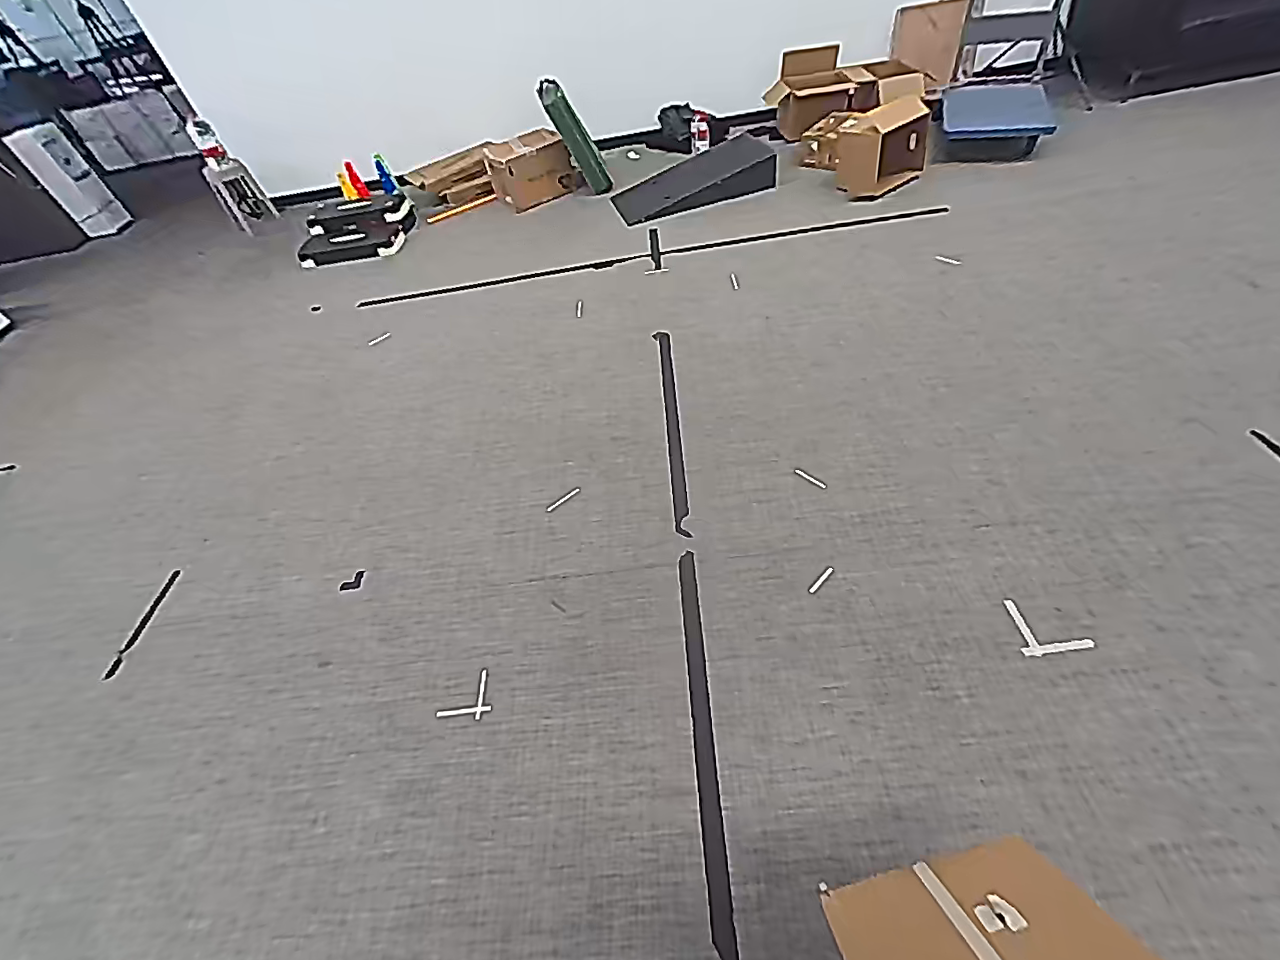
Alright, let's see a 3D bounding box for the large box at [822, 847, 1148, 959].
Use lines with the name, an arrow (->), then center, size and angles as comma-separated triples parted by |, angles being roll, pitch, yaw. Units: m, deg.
large box -> 0.455, 0.713, 0.598 | 0.320, 0.408, 0.320 | -17, 82, 1
